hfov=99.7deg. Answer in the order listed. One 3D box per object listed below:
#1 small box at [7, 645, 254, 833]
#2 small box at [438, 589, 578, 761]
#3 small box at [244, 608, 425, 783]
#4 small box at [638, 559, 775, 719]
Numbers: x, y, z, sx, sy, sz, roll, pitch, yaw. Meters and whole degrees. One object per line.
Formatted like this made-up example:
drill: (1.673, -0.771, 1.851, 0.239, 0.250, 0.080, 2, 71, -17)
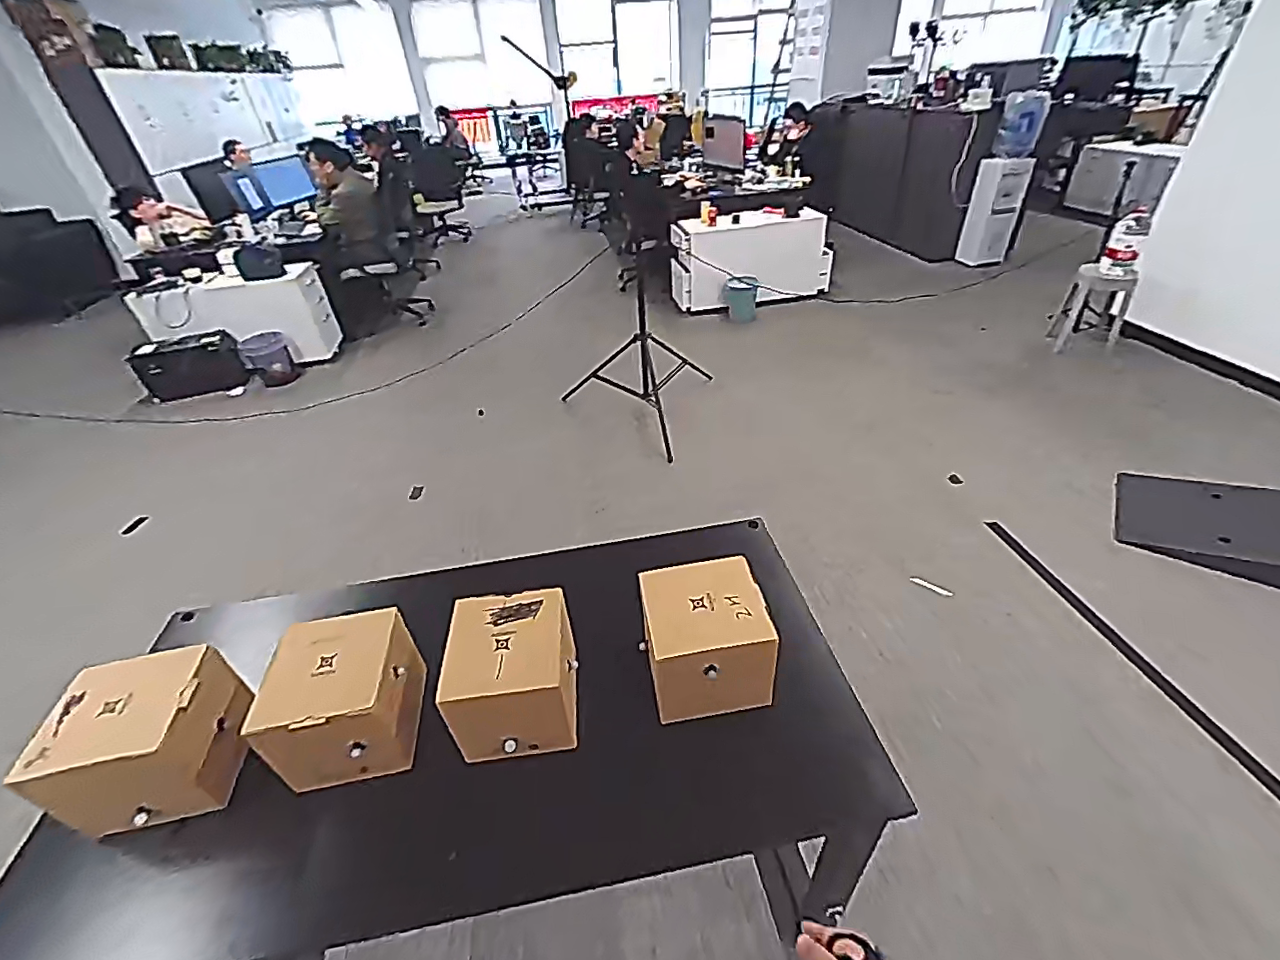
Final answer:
small box: (-0.691, 0.367, 0.772, 0.179, 0.176, 0.168, -9, 37, -9)
small box: (-0.188, 0.294, 0.822, 0.168, 0.176, 0.179, -6, 37, -3)
small box: (-0.435, 0.324, 0.808, 0.168, 0.176, 0.179, -9, 36, -7)
small box: (0.099, 0.251, 0.850, 0.179, 0.176, 0.168, -8, 37, -4)
